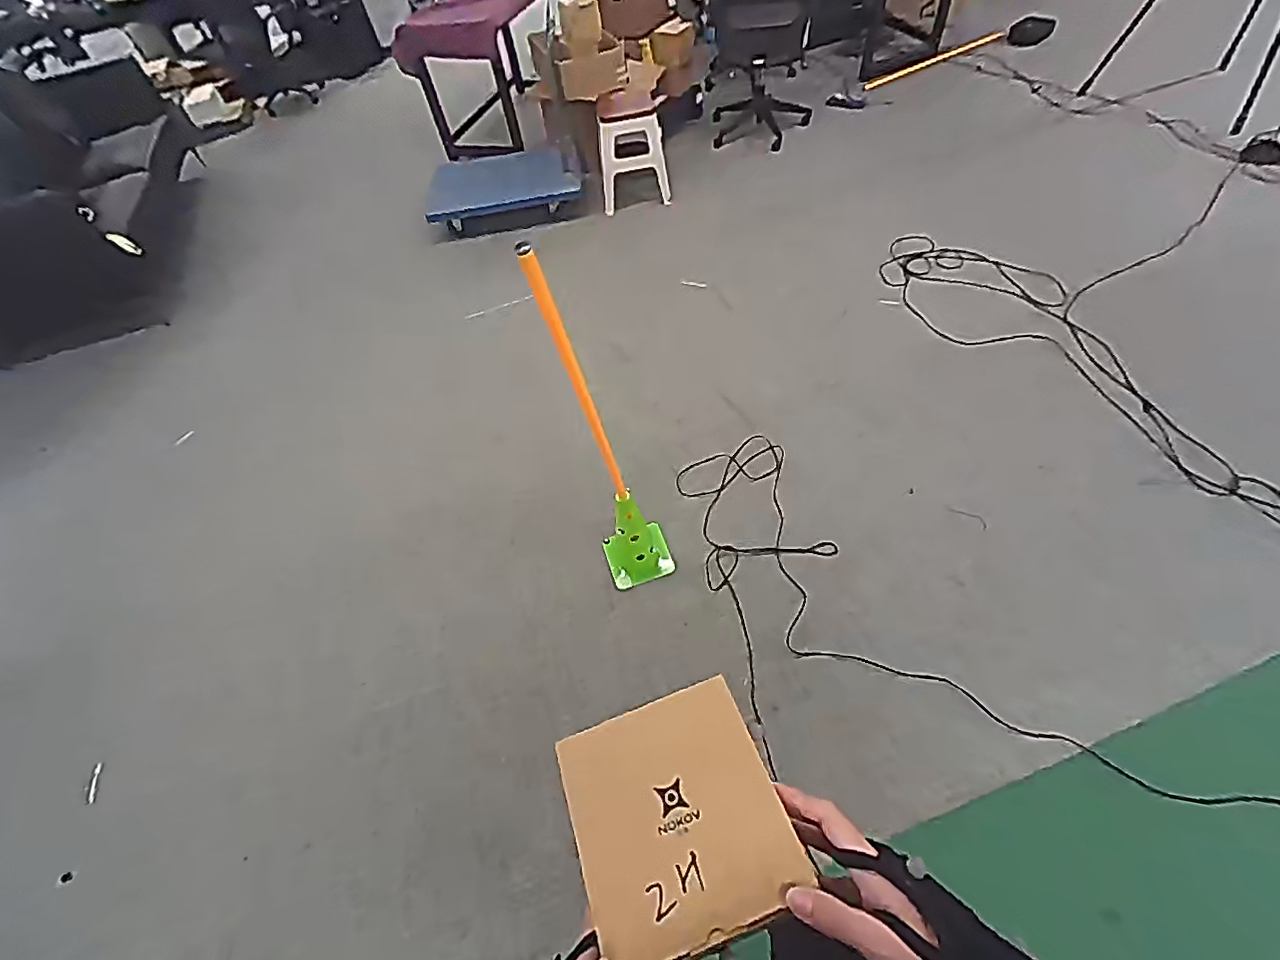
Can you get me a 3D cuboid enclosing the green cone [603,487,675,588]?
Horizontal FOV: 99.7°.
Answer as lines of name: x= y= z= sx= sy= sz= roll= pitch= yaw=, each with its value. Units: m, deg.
green cone: x=-0.023 y=0.142 z=1.620 sx=0.202 sy=0.368 sz=0.200 roll=-18 pitch=54 yaw=-7
